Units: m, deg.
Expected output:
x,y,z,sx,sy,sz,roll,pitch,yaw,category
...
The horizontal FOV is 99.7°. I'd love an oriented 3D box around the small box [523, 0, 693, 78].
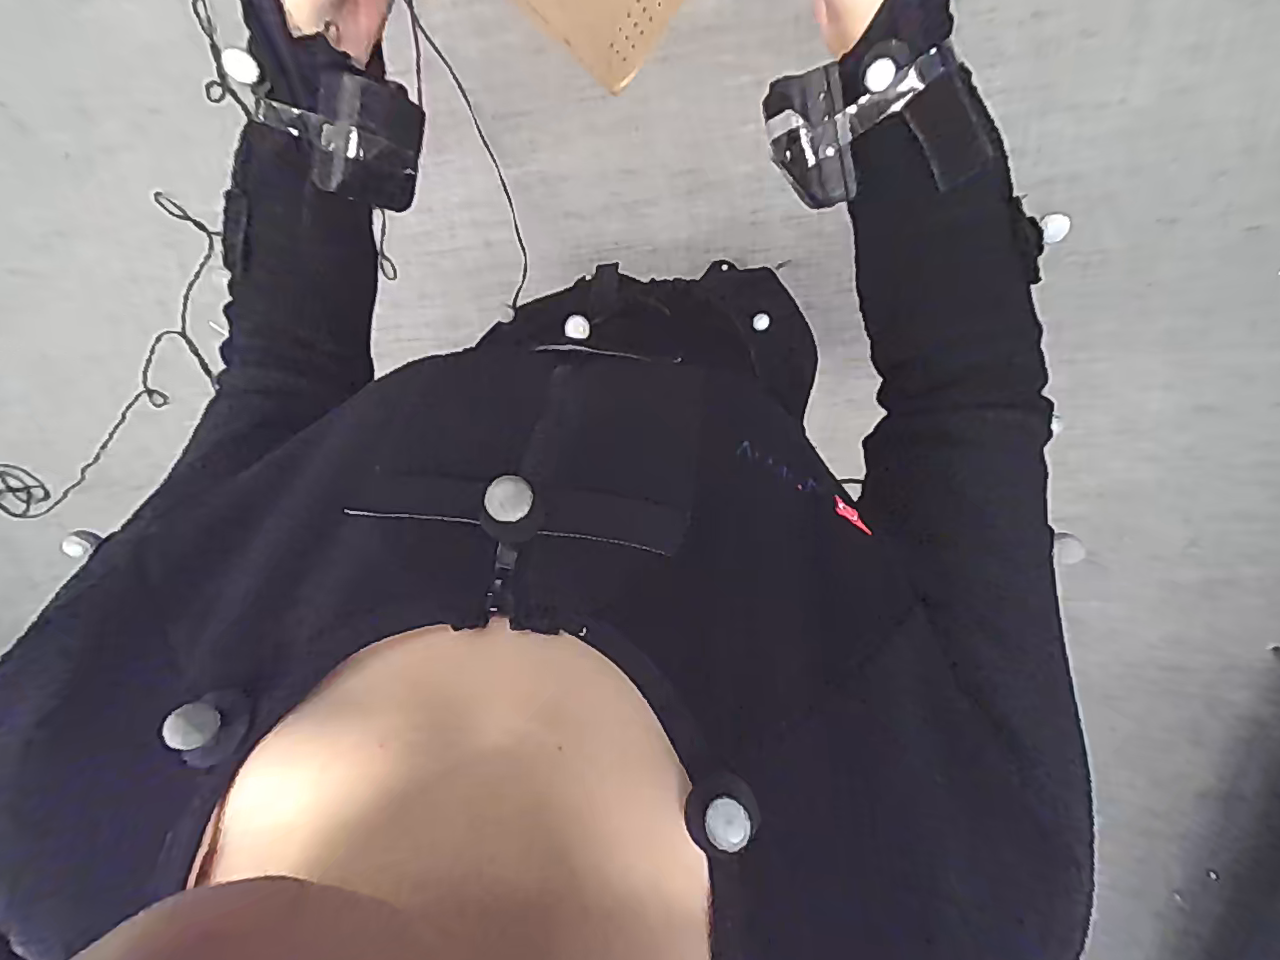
x,y,z,sx,sy,sz,roll,pitch,yaw,category
-0.037,-0.290,0.179,0.168,0.176,0.179,46,116,5,small box
